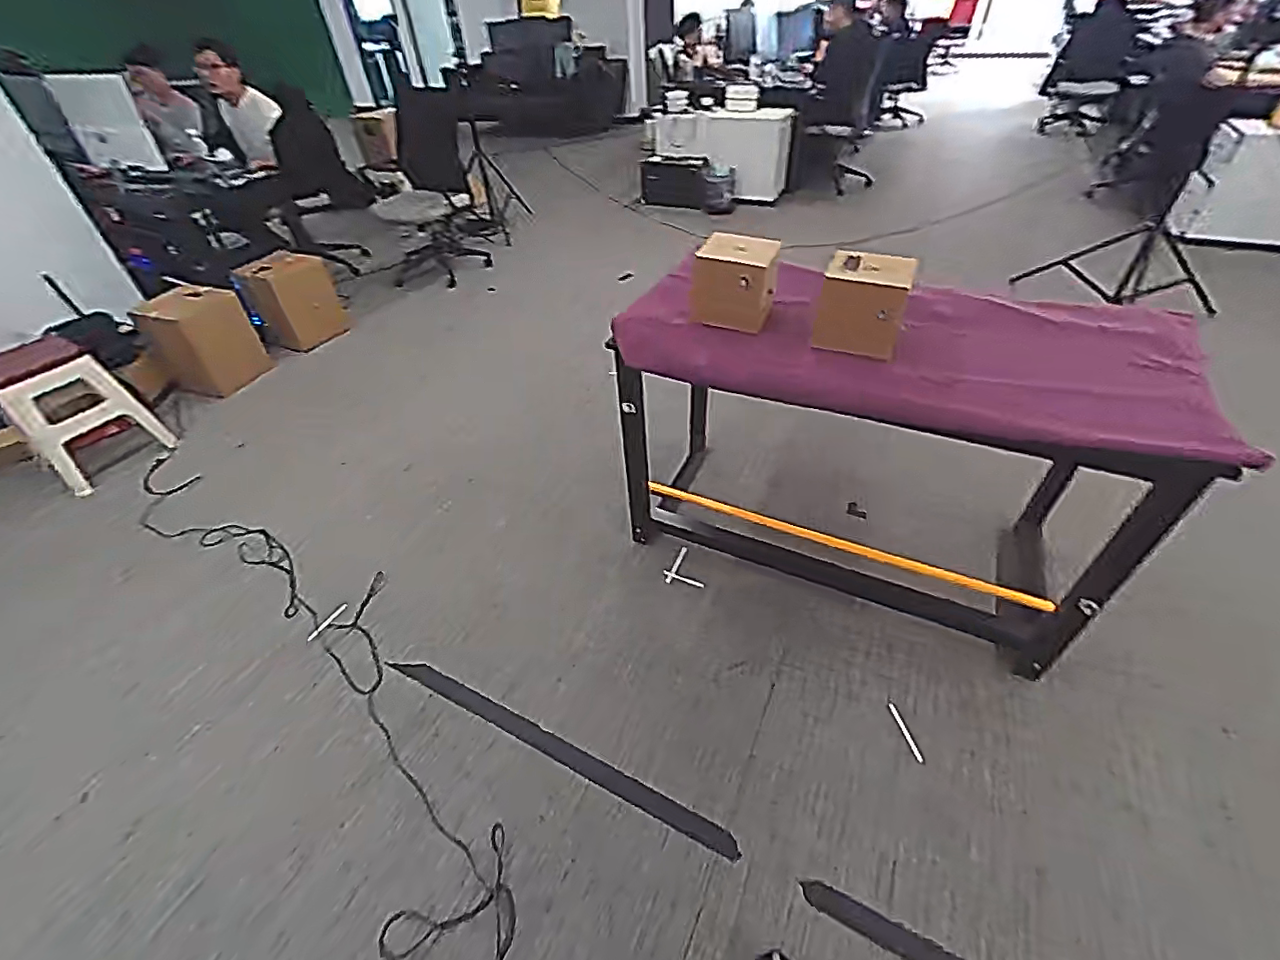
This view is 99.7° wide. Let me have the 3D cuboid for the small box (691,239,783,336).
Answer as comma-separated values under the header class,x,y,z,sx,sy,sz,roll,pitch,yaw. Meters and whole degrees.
class,x,y,z,sx,sy,sz,roll,pitch,yaw
small box,0.238,-0.476,1.345,0.179,0.176,0.168,16,45,17
